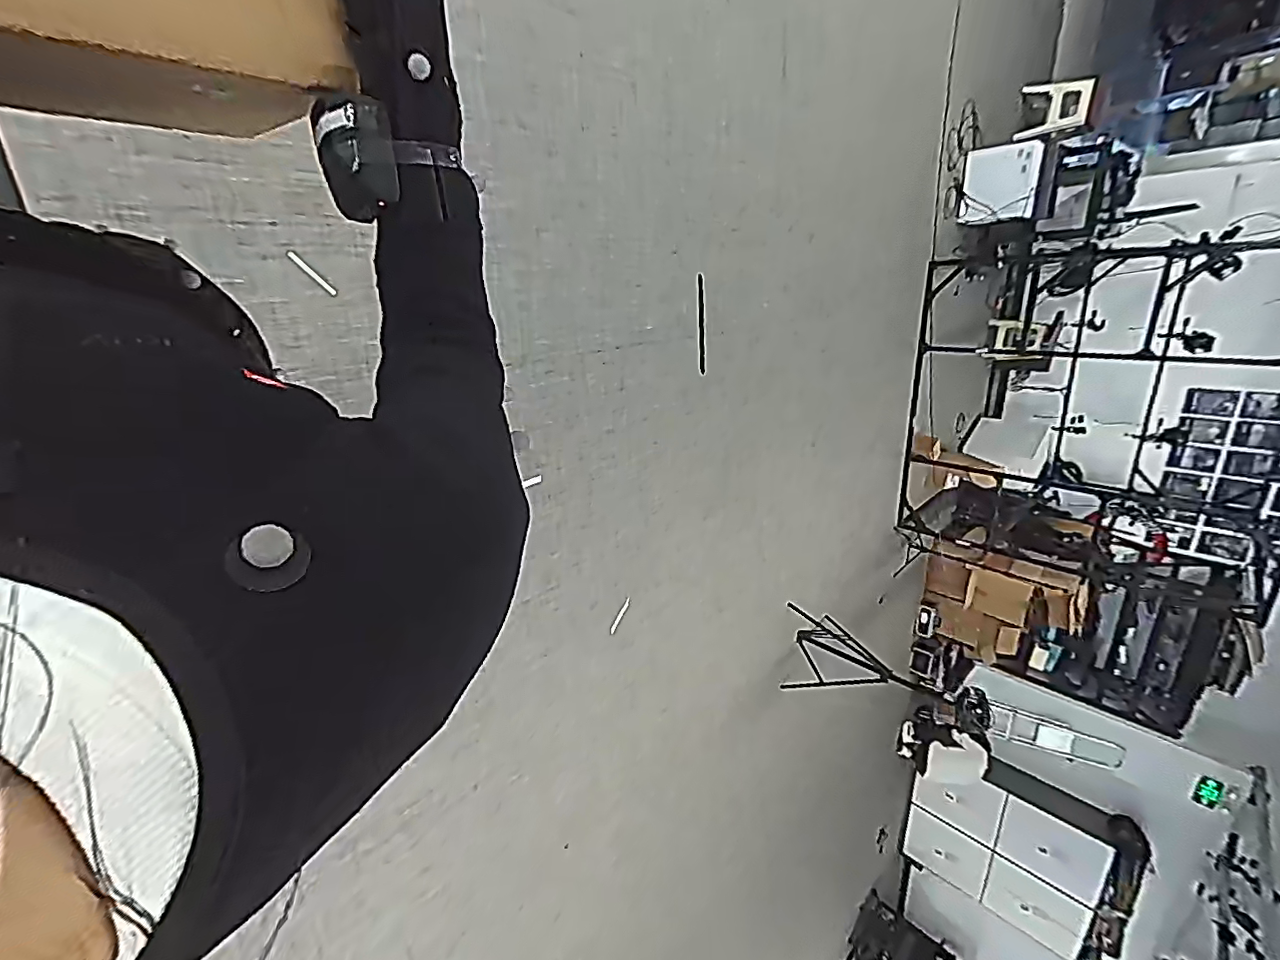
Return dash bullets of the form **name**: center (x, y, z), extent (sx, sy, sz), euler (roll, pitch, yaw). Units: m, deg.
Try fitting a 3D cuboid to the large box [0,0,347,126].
- **large box**: center (-0.431, -0.389, 0.257), extent (0.408, 0.320, 0.320), euler (-21, 124, -41)
